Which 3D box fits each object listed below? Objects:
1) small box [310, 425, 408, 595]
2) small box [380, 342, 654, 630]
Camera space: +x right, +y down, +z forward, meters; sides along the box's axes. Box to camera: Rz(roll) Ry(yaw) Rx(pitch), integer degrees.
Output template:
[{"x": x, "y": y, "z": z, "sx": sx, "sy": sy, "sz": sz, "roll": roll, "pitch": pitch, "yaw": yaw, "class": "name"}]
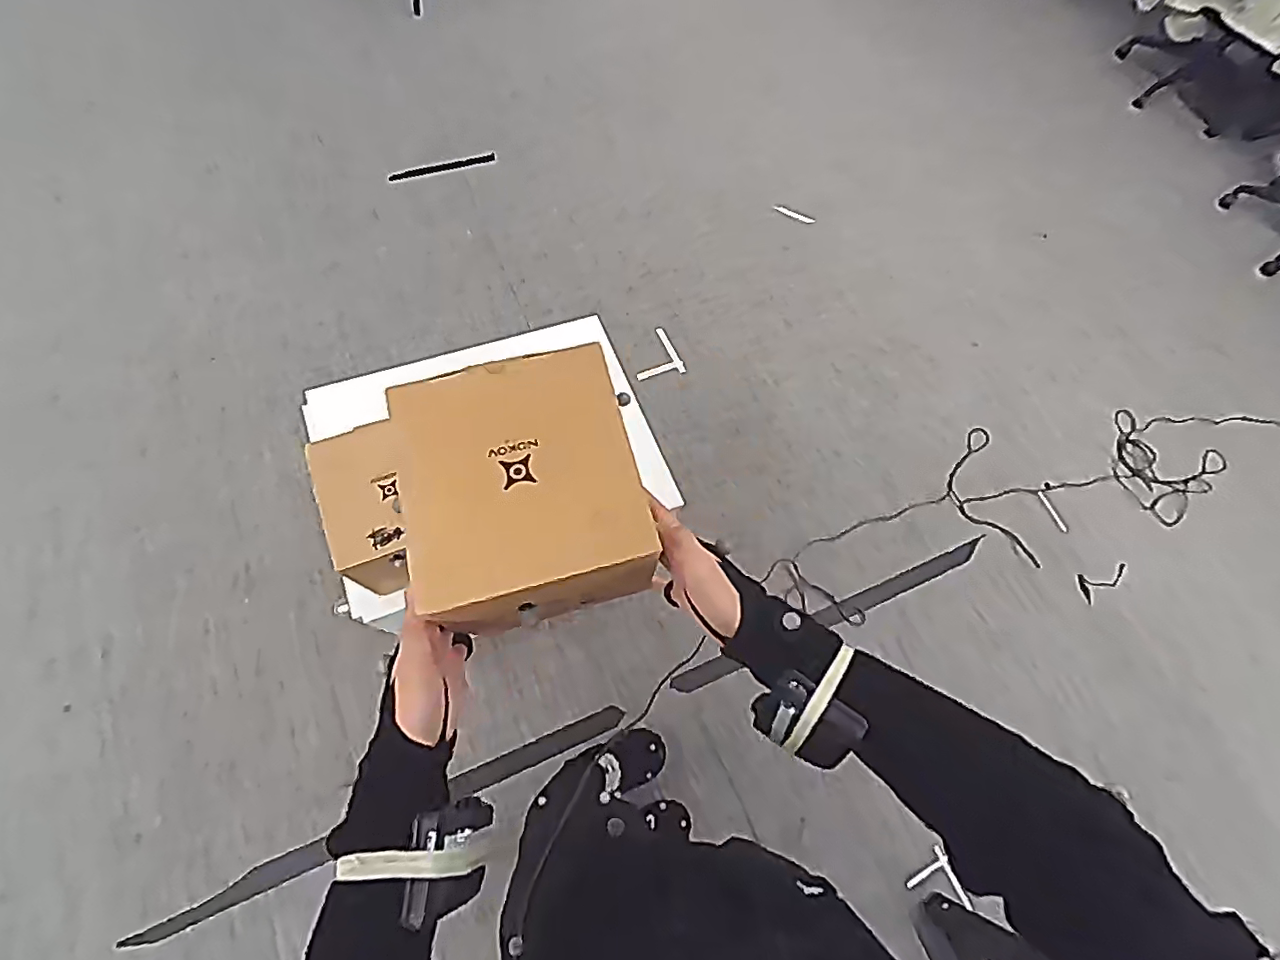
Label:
[{"x": -0.317, "y": 0.037, "z": 0.741, "sx": 0.168, "sy": 0.176, "sz": 0.179, "roll": -19, "pitch": 71, "yaw": -15, "class": "small box"}, {"x": -0.090, "y": 0.019, "z": 0.452, "sx": 0.168, "sy": 0.176, "sz": 0.179, "roll": -15, "pitch": 70, "yaw": -7, "class": "small box"}]
